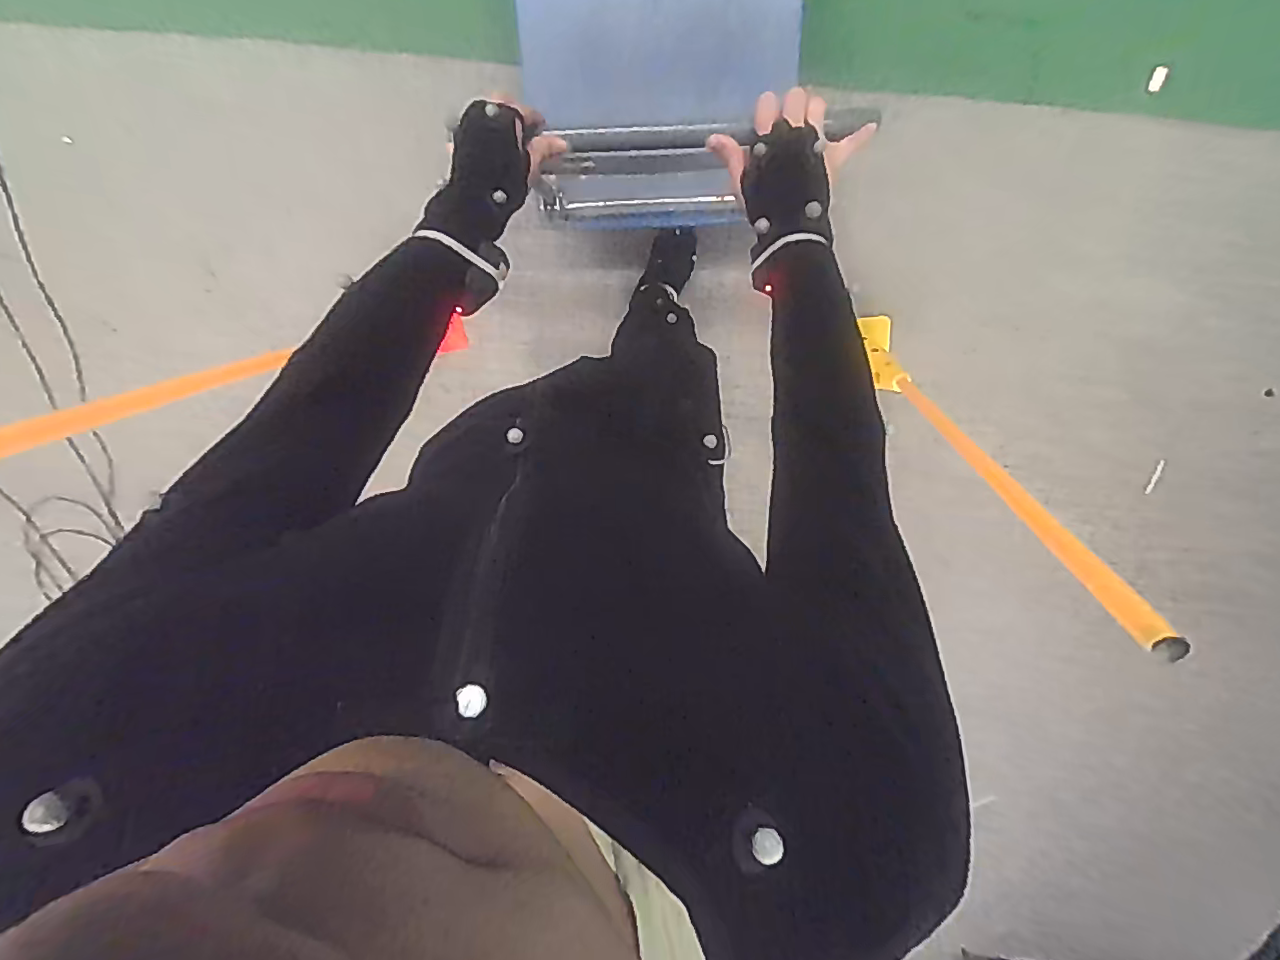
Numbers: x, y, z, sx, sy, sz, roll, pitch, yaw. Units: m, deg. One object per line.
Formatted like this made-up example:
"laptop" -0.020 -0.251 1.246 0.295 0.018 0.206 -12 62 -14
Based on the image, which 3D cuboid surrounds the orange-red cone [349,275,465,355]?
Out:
"orange-red cone" -0.607 -0.389 1.338 0.199 0.360 0.198 -7 112 7
